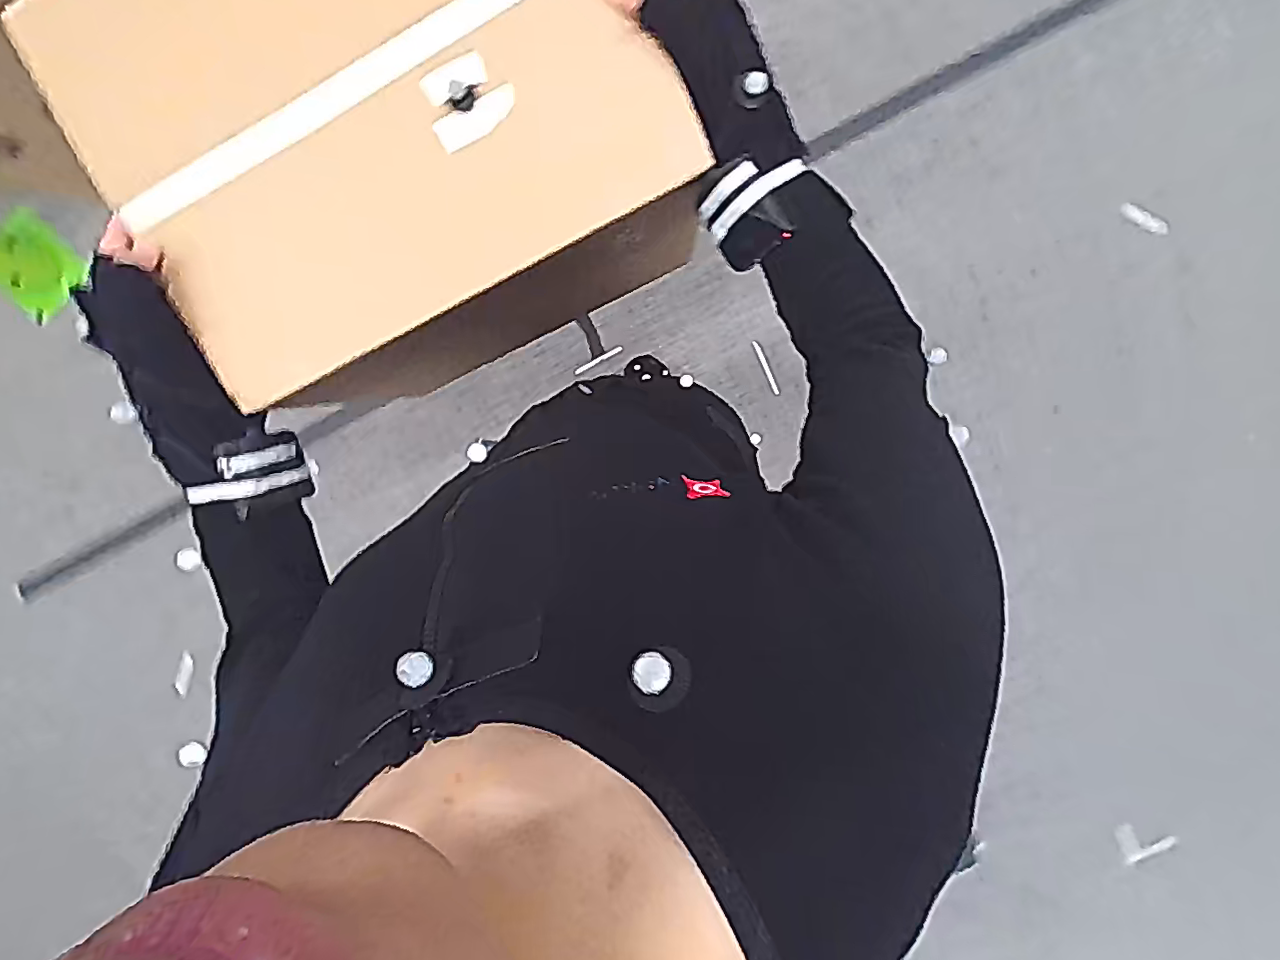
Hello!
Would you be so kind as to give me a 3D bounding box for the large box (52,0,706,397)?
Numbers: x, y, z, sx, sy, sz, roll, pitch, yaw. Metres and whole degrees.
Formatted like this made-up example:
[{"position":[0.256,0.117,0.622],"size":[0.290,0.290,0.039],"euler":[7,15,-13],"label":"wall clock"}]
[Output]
[{"position":[-0.186,-0.307,0.538],"size":[0.408,0.320,0.320],"euler":[-25,98,6],"label":"large box"}]
